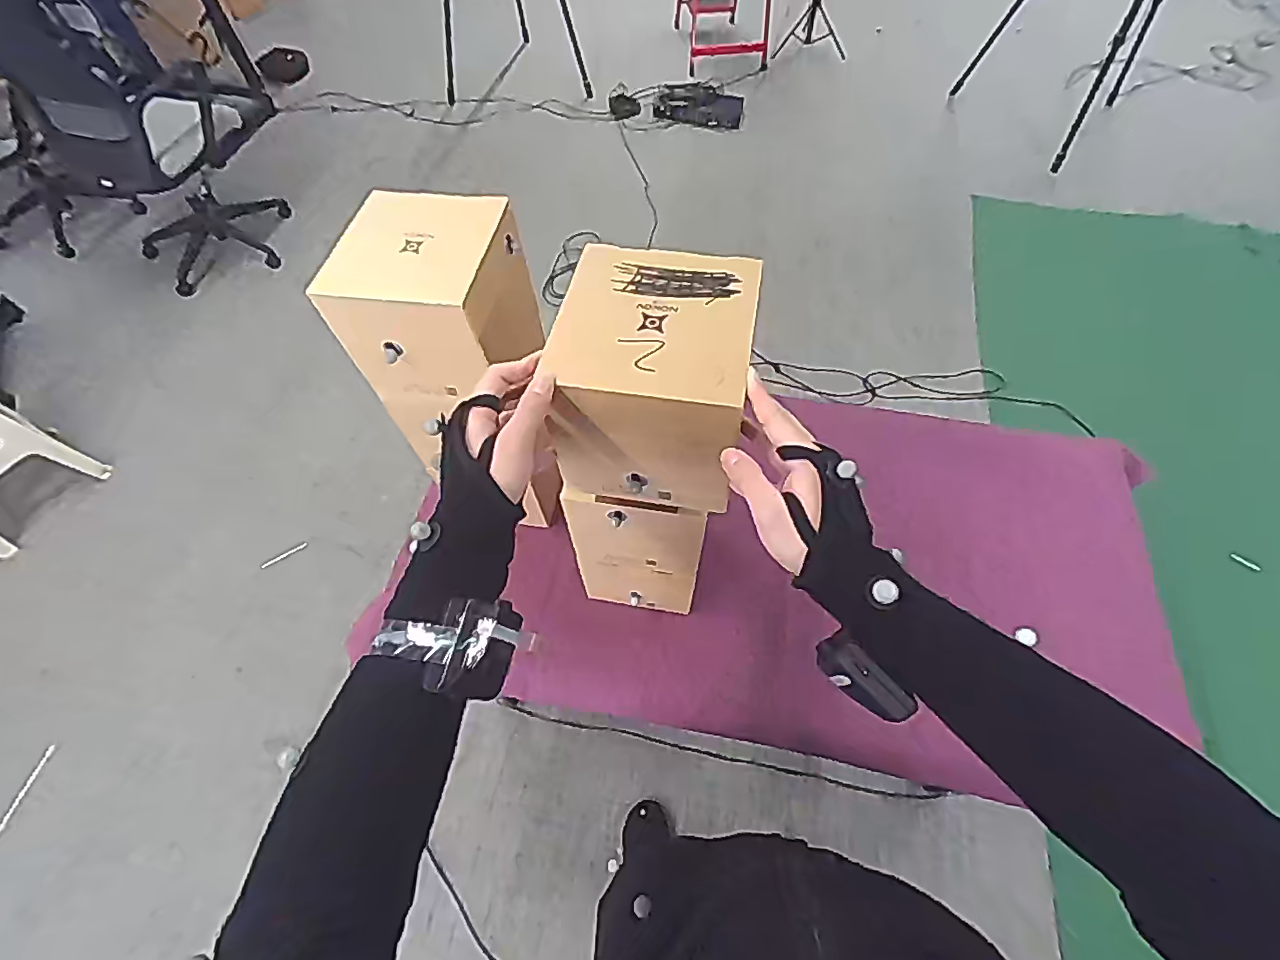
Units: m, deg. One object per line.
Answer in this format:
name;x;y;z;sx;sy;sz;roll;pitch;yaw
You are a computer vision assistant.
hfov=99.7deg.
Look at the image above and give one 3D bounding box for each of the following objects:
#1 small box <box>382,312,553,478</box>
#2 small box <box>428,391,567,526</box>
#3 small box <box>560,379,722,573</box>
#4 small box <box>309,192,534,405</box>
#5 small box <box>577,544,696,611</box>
small box;-0.230;-0.126;0.779;0.168;0.176;0.179;7;61;6
small box;-0.228;-0.043;0.919;0.168;0.176;0.179;7;61;6
small box;0.007;-0.001;0.698;0.168;0.176;0.179;8;59;7
small box;-0.234;-0.208;0.638;0.168;0.176;0.179;6;60;6
small box;0.009;0.084;0.839;0.168;0.176;0.179;8;60;7
